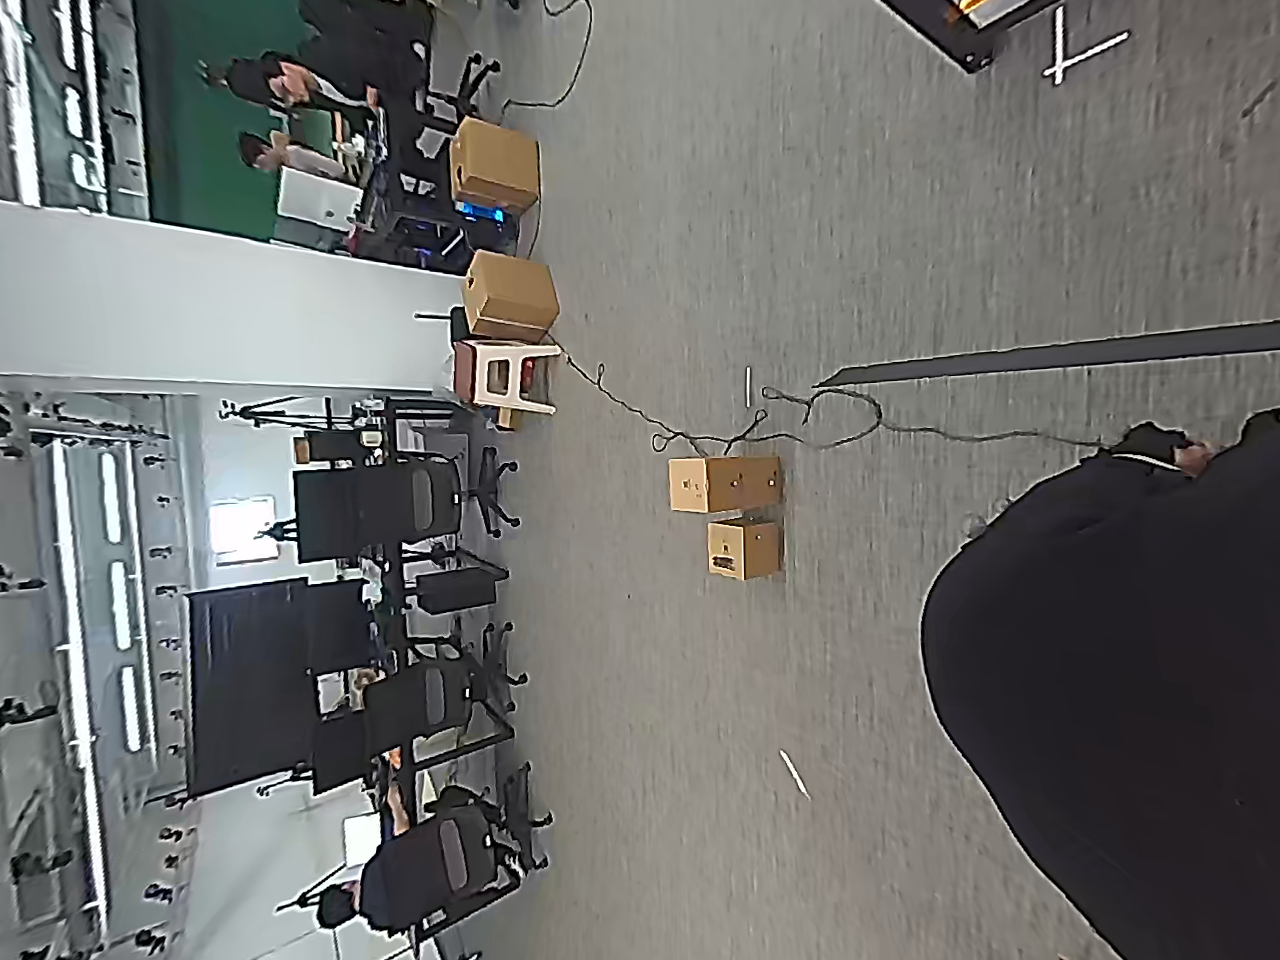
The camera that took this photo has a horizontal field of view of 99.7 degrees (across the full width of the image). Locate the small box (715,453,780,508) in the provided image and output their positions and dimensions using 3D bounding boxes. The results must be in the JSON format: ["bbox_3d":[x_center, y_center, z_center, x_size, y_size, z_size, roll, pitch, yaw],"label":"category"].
[{"bbox_3d":[0.343,-0.003,1.798,0.179,0.176,0.168,4,97,53],"label":"small box"}]

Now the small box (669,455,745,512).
[{"bbox_3d":[0.211,0.007,1.701,0.179,0.176,0.168,2,96,53],"label":"small box"}]
